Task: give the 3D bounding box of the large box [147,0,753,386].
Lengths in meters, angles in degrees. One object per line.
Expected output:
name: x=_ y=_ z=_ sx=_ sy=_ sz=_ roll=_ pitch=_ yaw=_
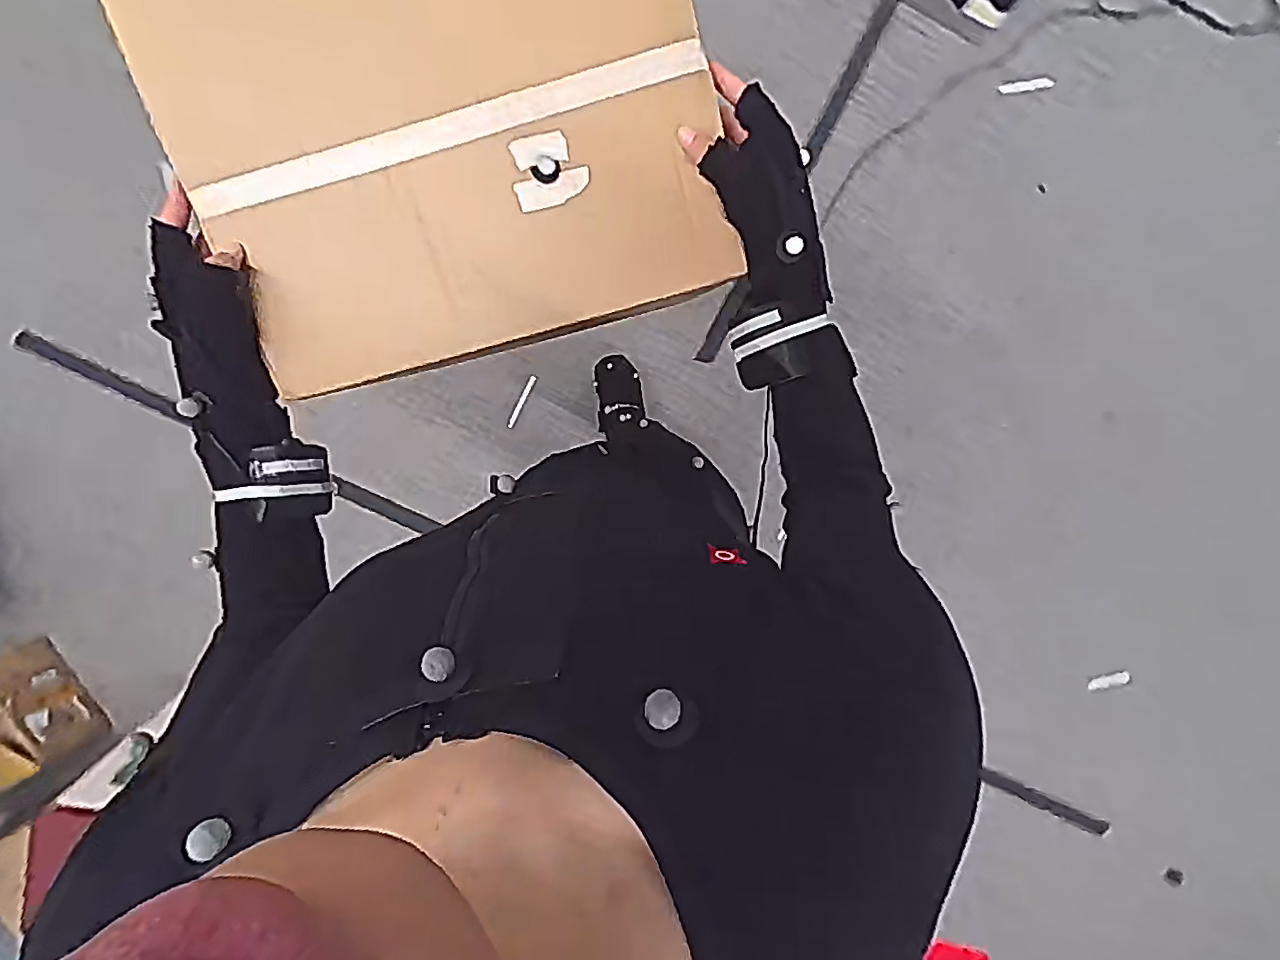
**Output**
large box: x=-0.139 y=-0.309 z=0.563 sx=0.408 sy=0.320 sz=0.320 roll=-14 pitch=106 yaw=2
